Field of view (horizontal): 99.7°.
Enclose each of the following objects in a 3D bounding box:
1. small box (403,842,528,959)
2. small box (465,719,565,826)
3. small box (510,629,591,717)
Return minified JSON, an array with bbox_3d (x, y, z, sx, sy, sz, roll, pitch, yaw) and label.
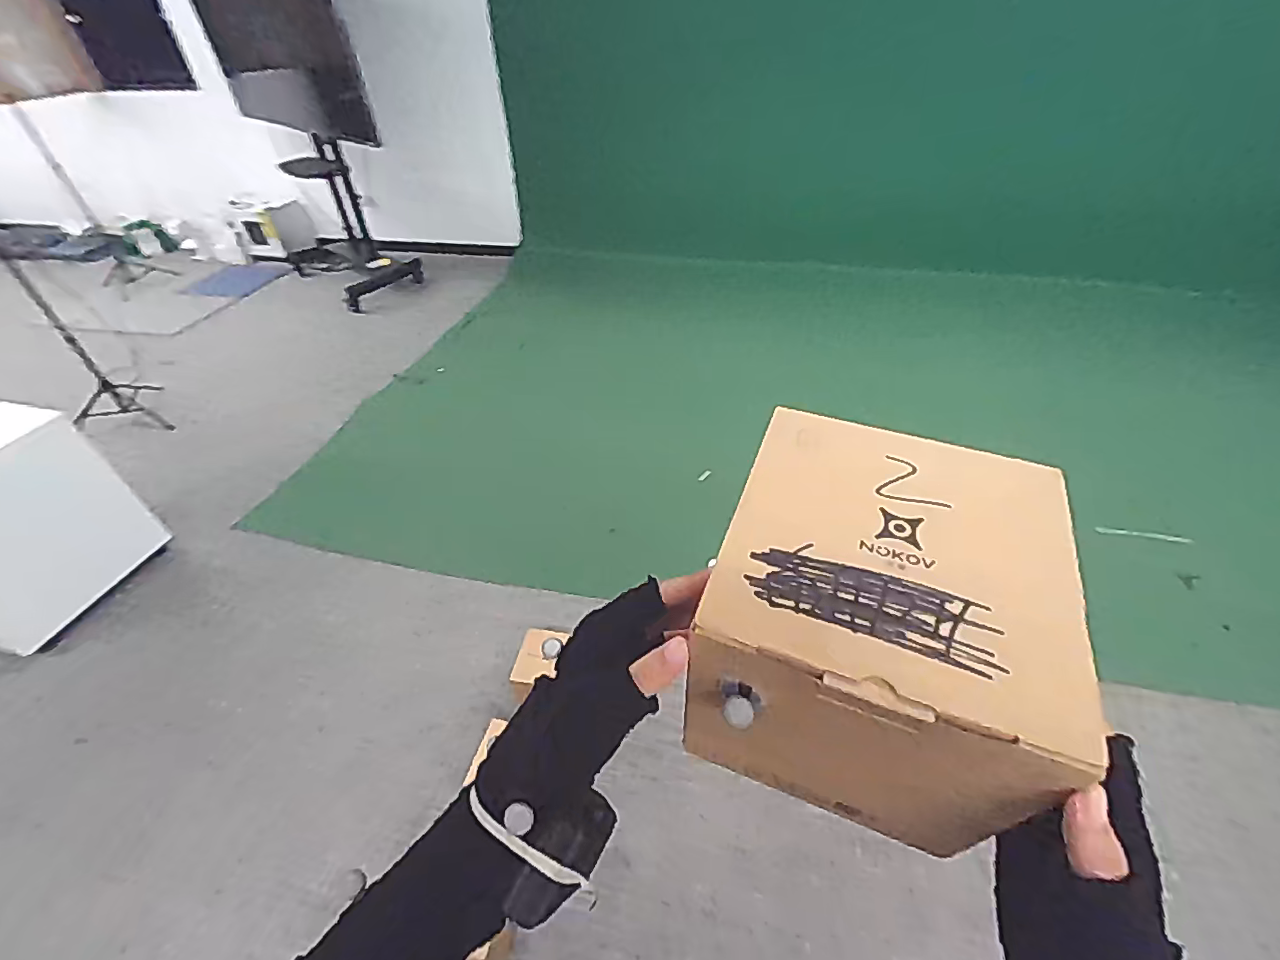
[{"bbox_3d":[-0.352,0.891,1.128,0.179,0.176,0.168,7,43,9],"label":"small box"},{"bbox_3d":[-0.298,0.721,1.328,0.179,0.176,0.168,8,42,10],"label":"small box"},{"bbox_3d":[-0.243,0.547,1.526,0.179,0.176,0.168,6,41,9],"label":"small box"}]
